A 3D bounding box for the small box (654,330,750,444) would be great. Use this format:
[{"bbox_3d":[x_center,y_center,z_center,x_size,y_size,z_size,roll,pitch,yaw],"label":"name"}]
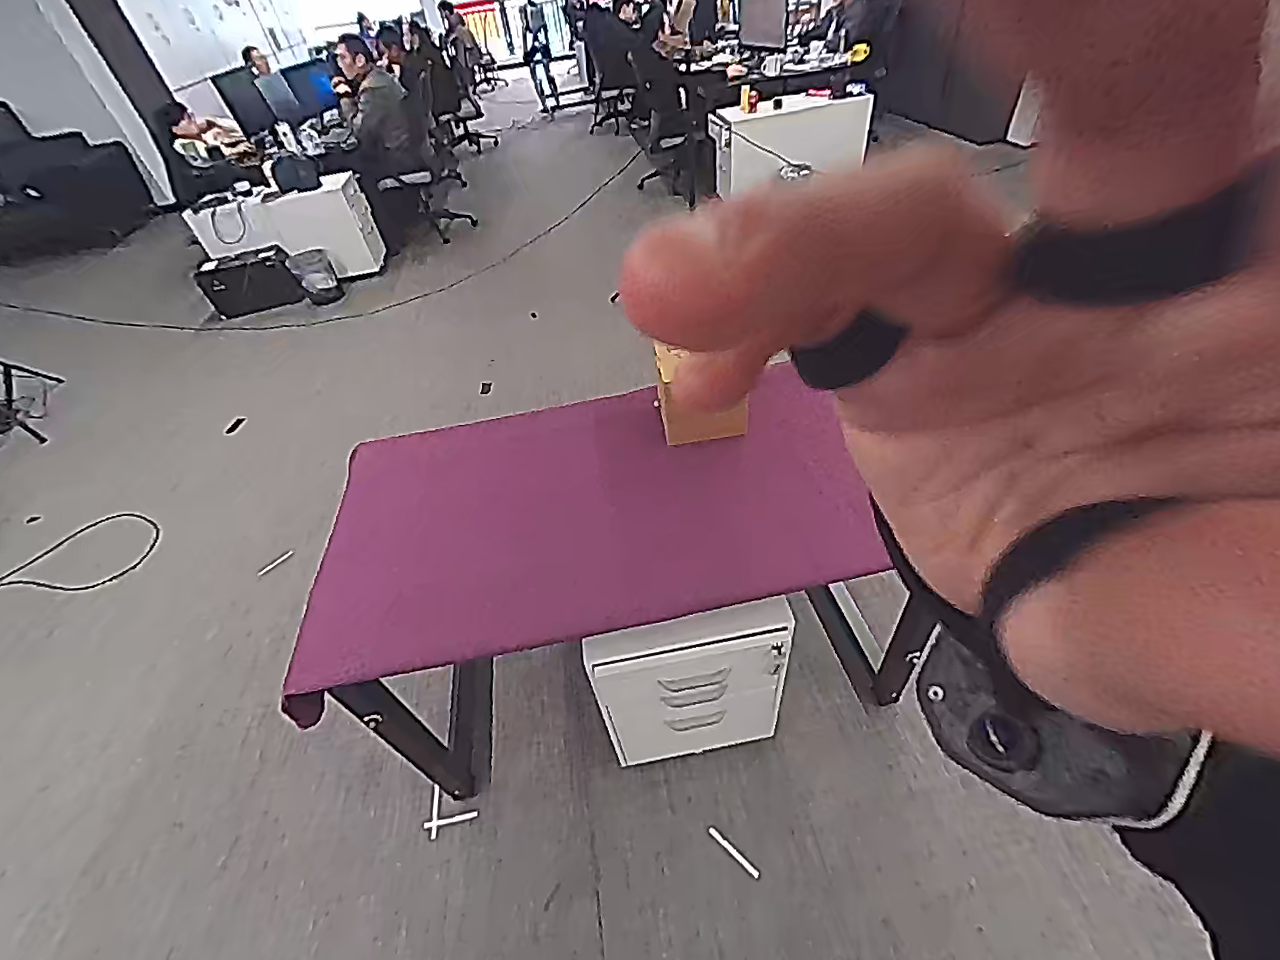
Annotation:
[{"bbox_3d":[0.131,-0.199,1.168,0.179,0.176,0.168,-9,45,0],"label":"small box"}]
